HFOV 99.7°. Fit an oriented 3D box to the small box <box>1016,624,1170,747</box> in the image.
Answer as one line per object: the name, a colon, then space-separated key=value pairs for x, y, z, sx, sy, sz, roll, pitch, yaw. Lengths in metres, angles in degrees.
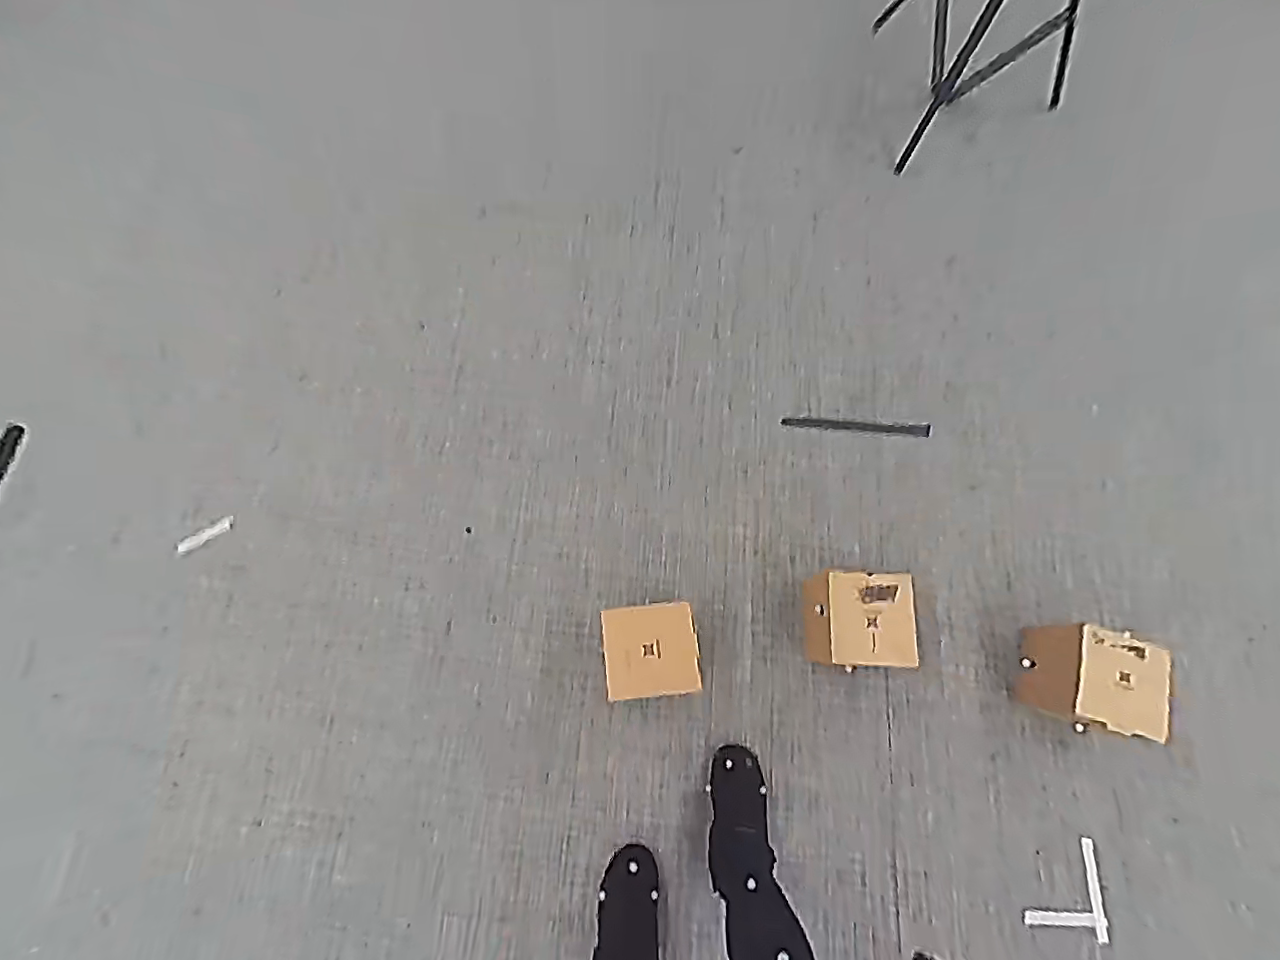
small box: x=0.893 y=0.402 z=1.080 sx=0.168 sy=0.176 sz=0.179 roll=19 pitch=74 yaw=5

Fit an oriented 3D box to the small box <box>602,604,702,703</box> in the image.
small box: x=0.019 y=0.345 z=1.083 sx=0.179 sy=0.176 sz=0.168 roll=-6 pitch=71 yaw=-2

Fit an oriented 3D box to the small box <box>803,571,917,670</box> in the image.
small box: x=0.438 y=0.289 z=1.105 sx=0.168 sy=0.176 sz=0.179 roll=4 pitch=73 yaw=0
